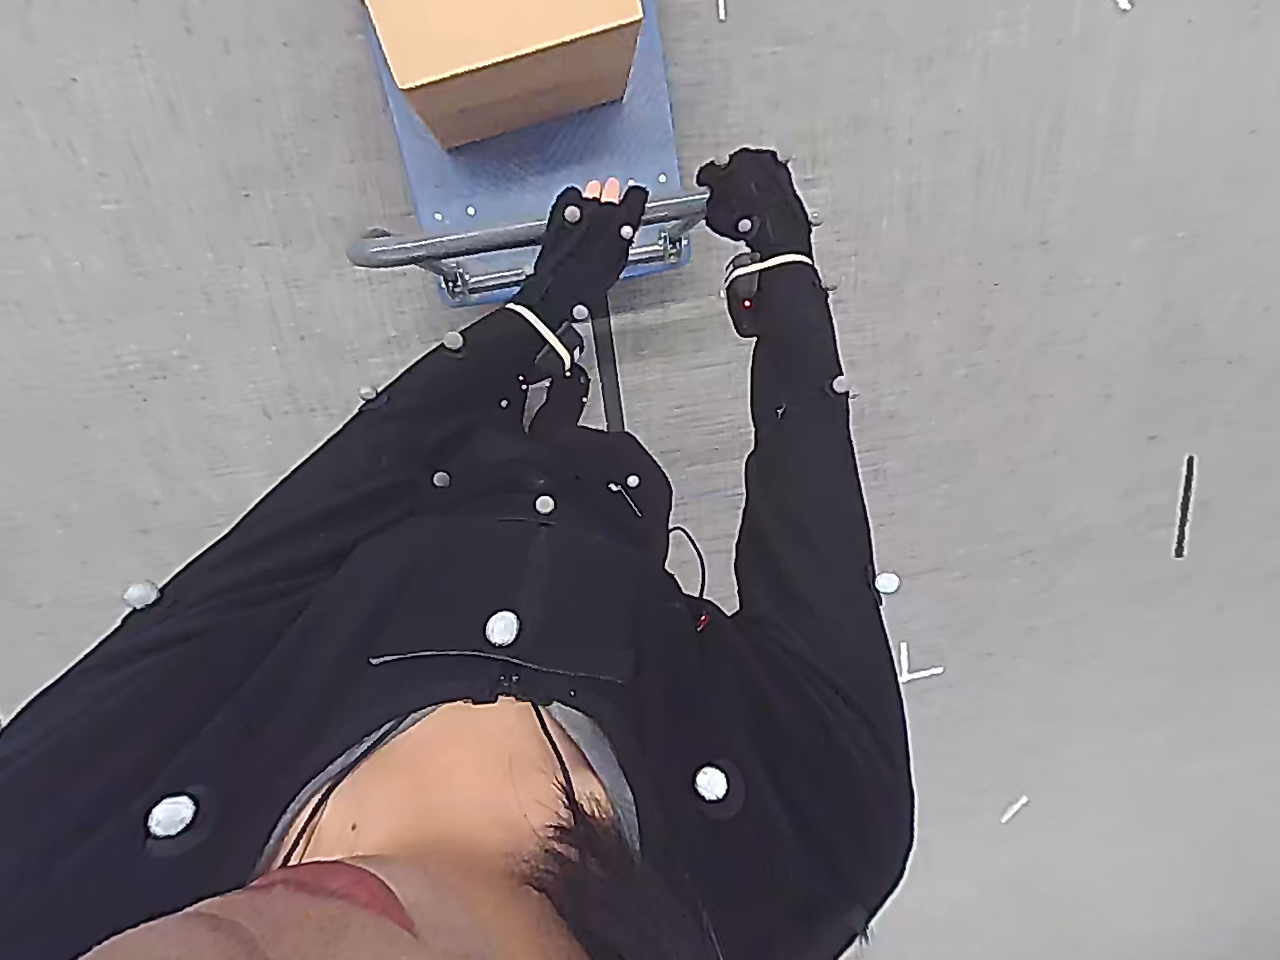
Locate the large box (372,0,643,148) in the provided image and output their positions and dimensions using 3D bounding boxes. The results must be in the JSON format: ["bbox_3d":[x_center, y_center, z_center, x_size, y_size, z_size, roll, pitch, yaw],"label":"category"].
[{"bbox_3d":[-0.245,-0.850,0.947,0.408,0.320,0.320,-19,108,-3],"label":"large box"}]
